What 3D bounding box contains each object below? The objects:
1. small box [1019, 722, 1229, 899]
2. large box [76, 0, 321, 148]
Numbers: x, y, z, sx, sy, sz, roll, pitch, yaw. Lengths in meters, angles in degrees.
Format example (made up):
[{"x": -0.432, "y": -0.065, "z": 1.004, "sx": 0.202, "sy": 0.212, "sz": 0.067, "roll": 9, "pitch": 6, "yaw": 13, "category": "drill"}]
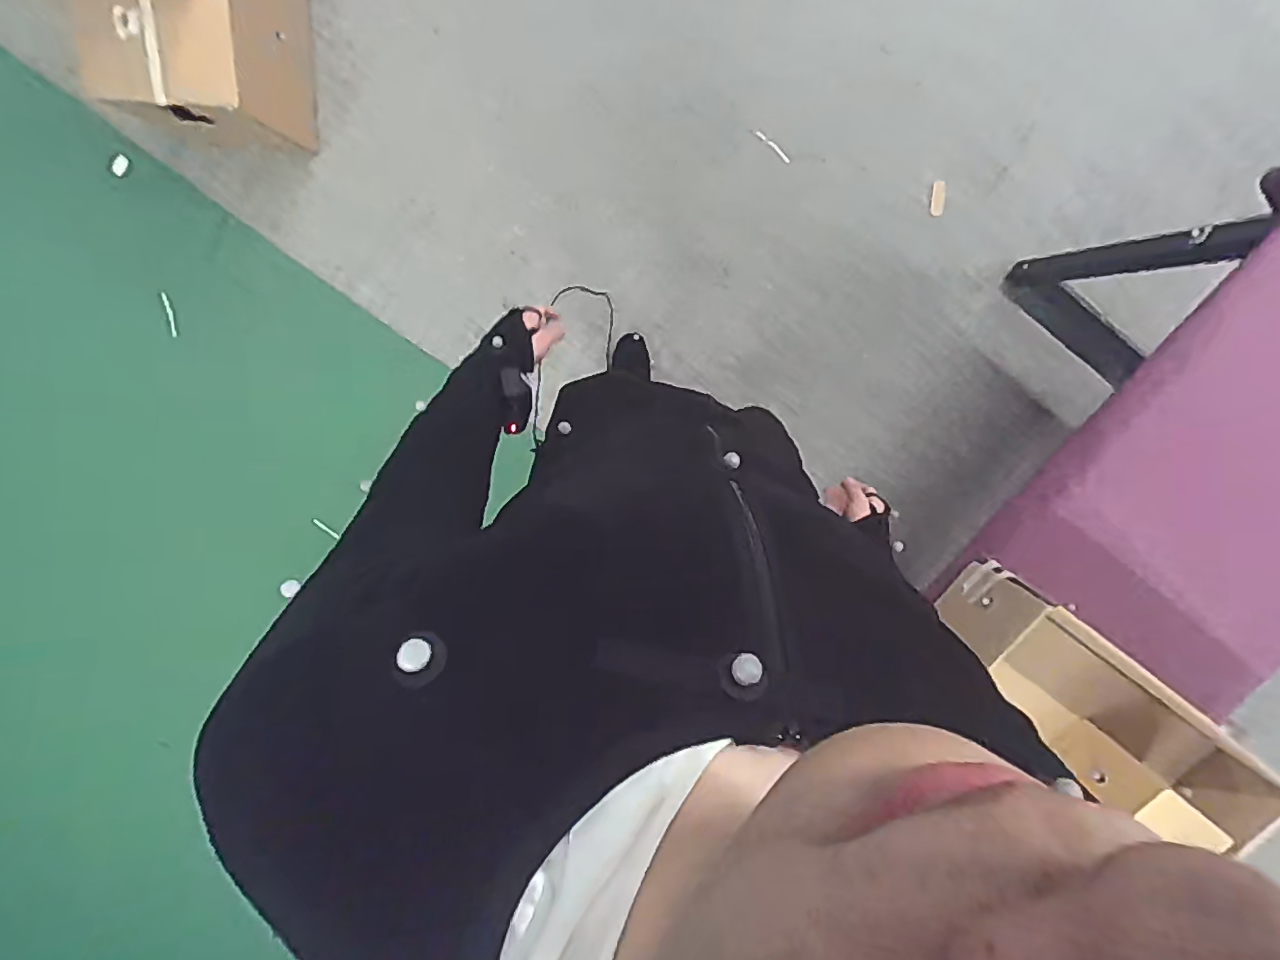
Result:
[{"x": 0.818, "y": 0.557, "z": 0.937, "sx": 0.179, "sy": 0.176, "sz": 0.168, "roll": 37, "pitch": 100, "yaw": -10, "category": "small box"}, {"x": -0.963, "y": -1.018, "z": 1.203, "sx": 0.320, "sy": 0.320, "sz": 0.408, "roll": 3, "pitch": 107, "yaw": -1, "category": "large box"}]
